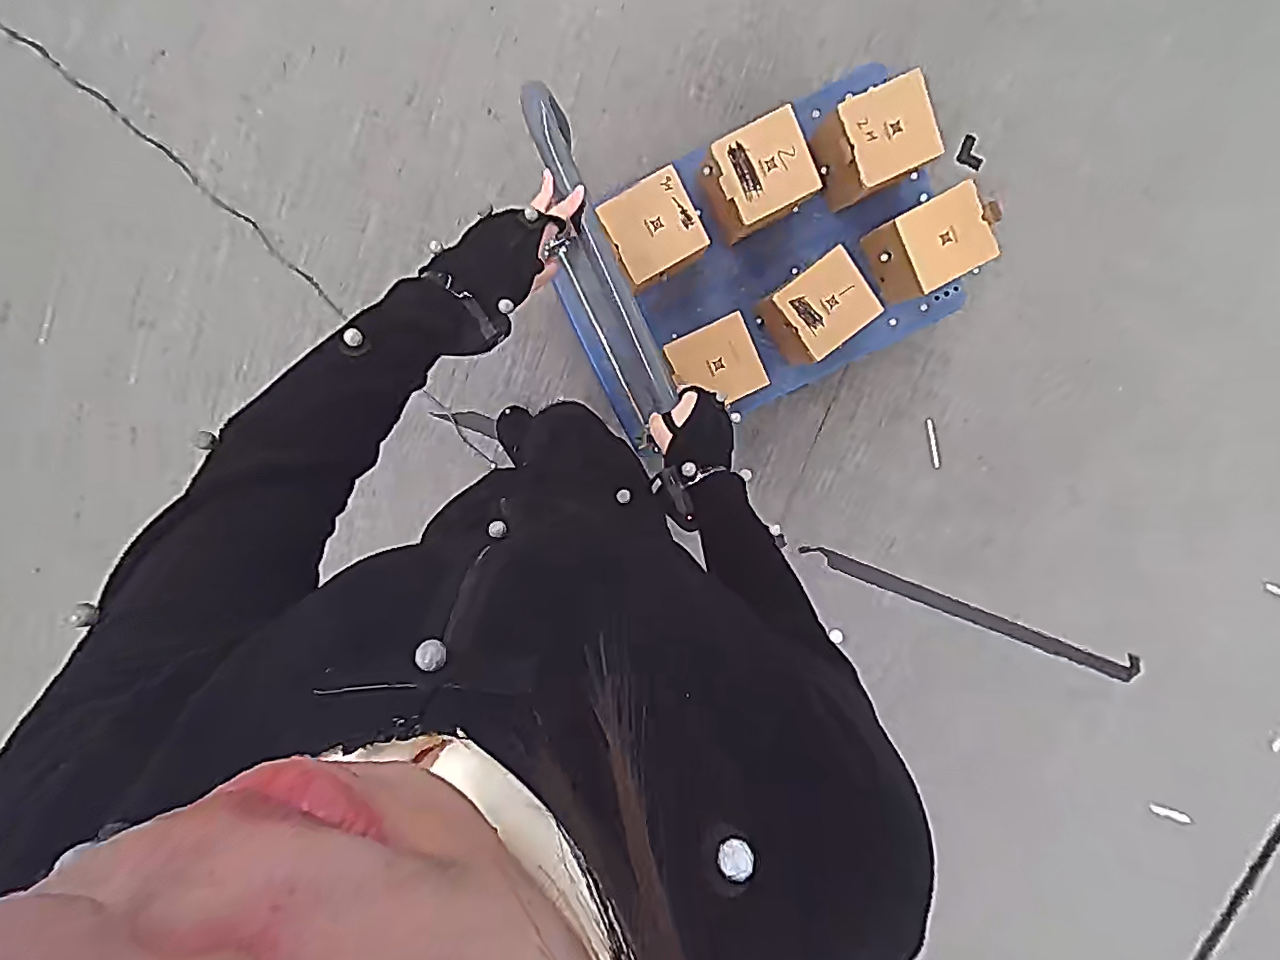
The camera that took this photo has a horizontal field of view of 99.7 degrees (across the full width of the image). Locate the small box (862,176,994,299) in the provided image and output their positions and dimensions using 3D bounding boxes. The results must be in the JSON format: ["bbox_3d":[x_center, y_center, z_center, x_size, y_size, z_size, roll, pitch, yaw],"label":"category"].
[{"bbox_3d":[0.613,-0.516,1.180,0.179,0.176,0.168,-29,100,1],"label":"small box"}]

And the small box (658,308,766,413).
[{"bbox_3d":[0.149,-0.259,1.195,0.179,0.176,0.168,-25,102,0],"label":"small box"}]

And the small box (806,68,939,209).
[{"bbox_3d":[0.480,-0.705,1.136,0.179,0.176,0.168,-24,101,1],"label":"small box"}]

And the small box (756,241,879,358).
[{"bbox_3d":[0.375,-0.383,1.187,0.179,0.176,0.168,-38,100,2],"label":"small box"}]

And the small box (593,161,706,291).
[{"bbox_3d":[0.016,-0.520,1.137,0.179,0.176,0.168,-29,102,2],"label":"small box"}]
